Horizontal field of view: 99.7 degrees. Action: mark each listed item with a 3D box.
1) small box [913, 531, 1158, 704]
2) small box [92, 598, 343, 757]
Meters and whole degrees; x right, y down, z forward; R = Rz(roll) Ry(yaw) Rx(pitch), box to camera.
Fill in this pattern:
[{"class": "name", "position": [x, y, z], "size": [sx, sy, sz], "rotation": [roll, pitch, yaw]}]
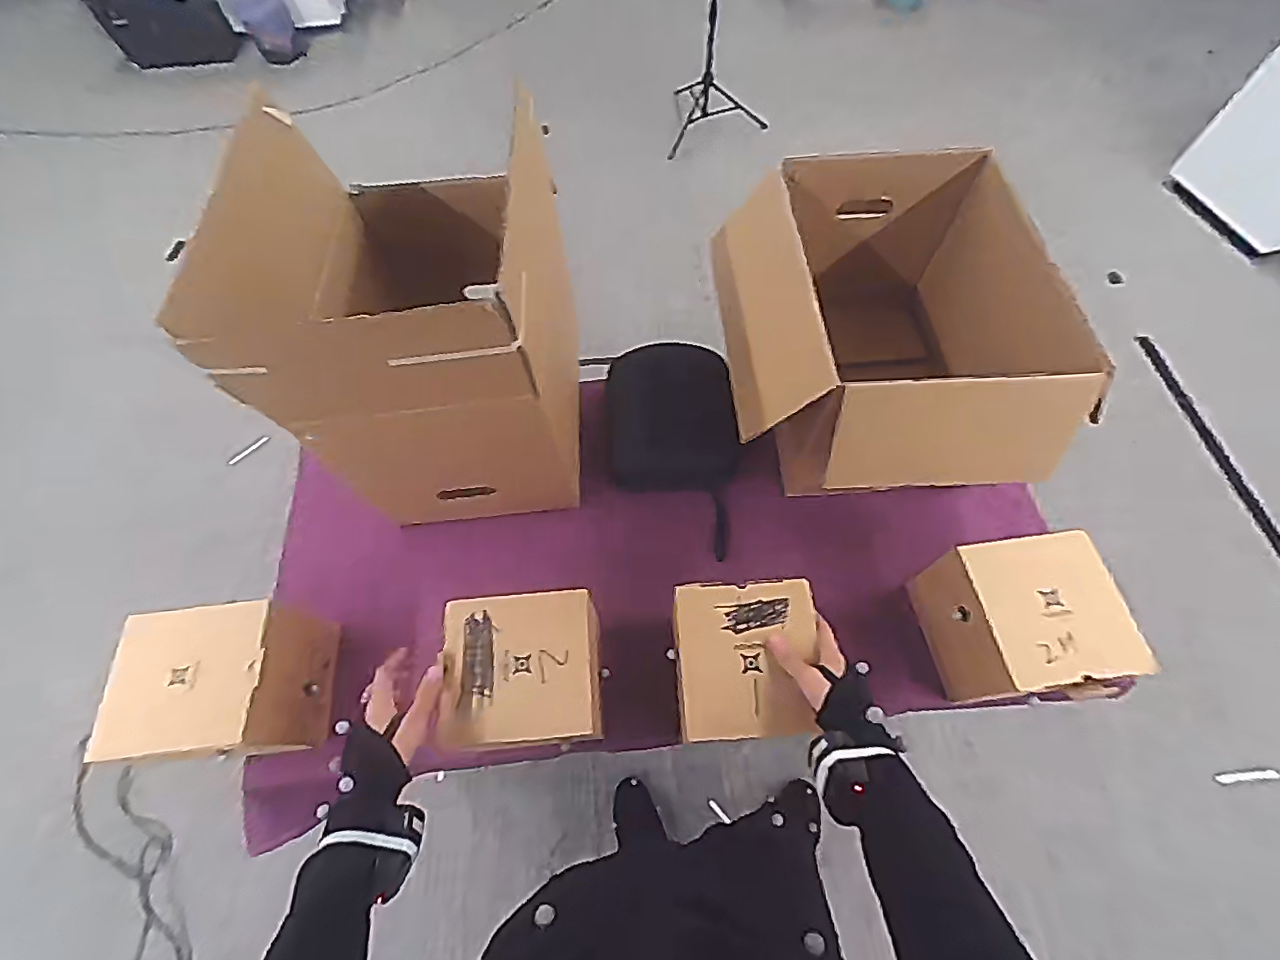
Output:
[{"class": "small box", "position": [0.491, 0.186, 0.710], "size": [0.168, 0.176, 0.179], "rotation": [-7, 63, -1]}, {"class": "small box", "position": [-0.529, 0.264, 0.708], "size": [0.179, 0.176, 0.168], "rotation": [-6, 63, -2]}]
